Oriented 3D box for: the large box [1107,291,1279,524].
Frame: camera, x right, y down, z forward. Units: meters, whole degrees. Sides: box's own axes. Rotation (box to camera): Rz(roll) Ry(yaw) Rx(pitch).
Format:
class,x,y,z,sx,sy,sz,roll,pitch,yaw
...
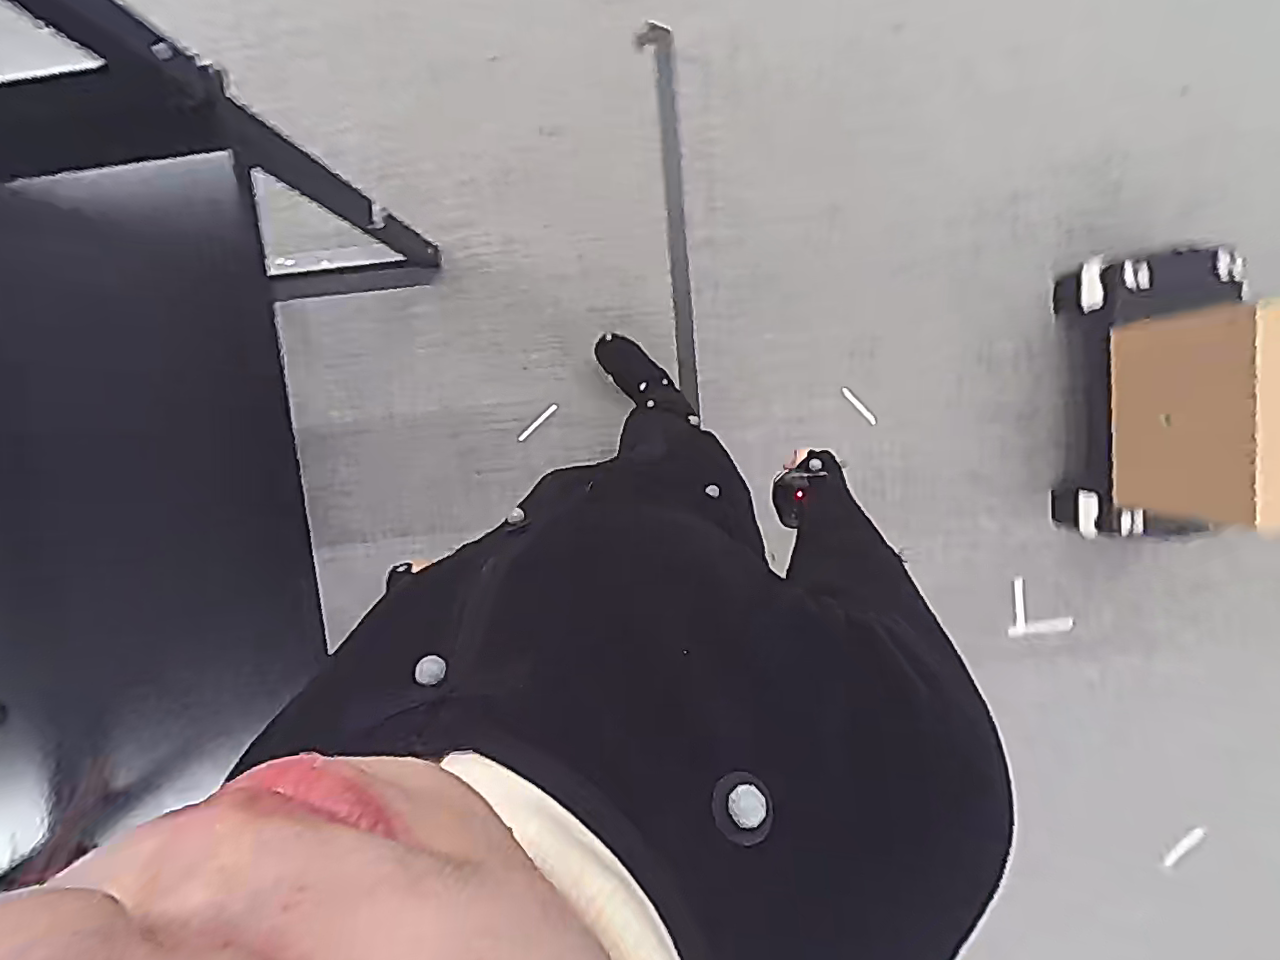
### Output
class,x,y,z,sx,sy,sz,roll,pitch,yaw
large box,1.215,-0.150,1.075,0.320,0.320,0.408,-7,95,2
